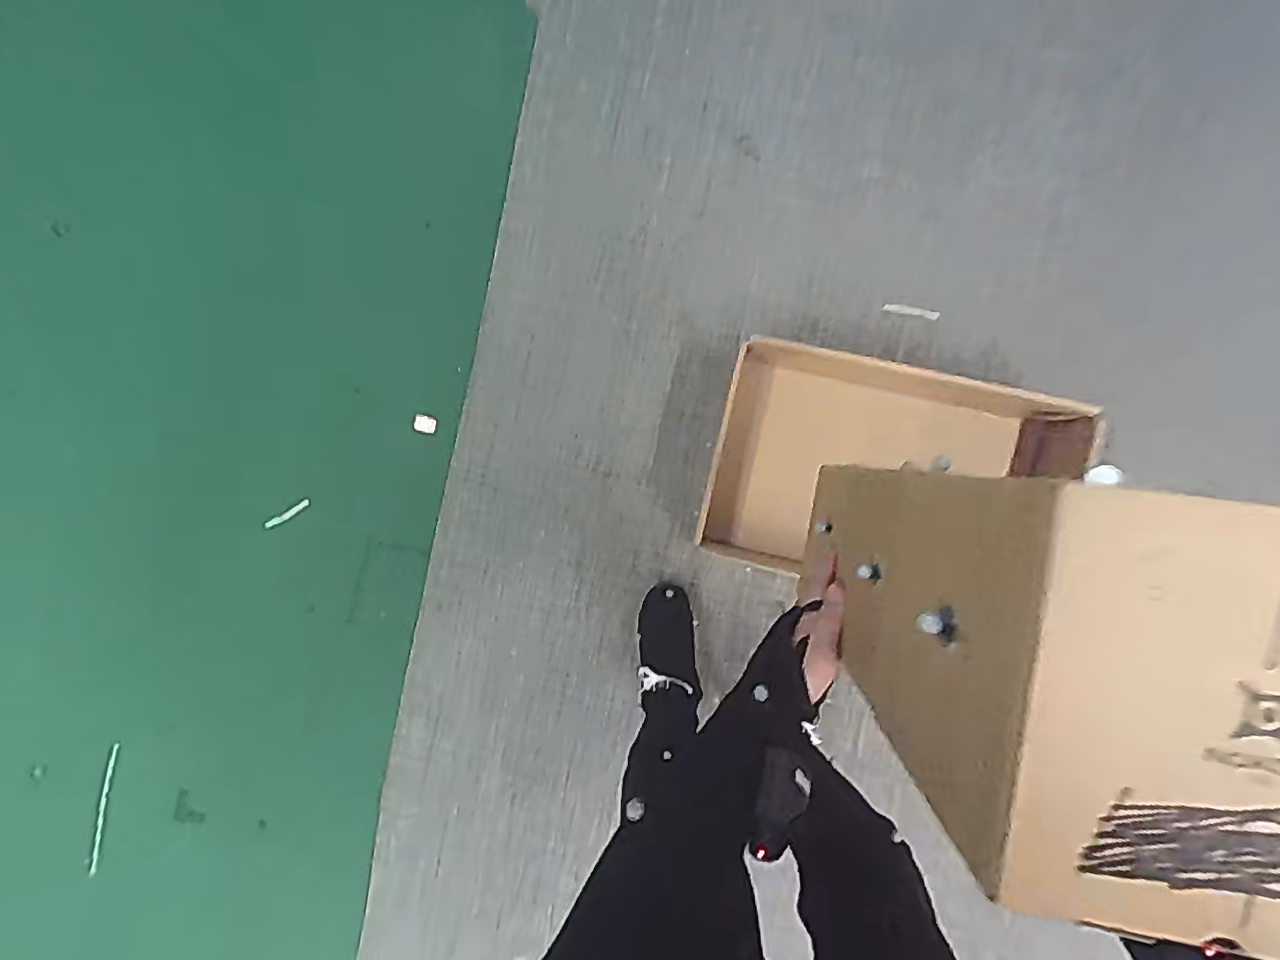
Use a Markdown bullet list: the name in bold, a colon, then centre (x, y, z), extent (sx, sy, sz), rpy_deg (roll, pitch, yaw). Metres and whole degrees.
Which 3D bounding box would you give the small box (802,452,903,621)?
- **small box**: centre (0.290, 0.070, 0.611), extent (0.168, 0.176, 0.179), rpy_deg (10, 93, 6)

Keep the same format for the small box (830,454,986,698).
- **small box**: centre (0.268, 0.078, 0.449), extent (0.168, 0.176, 0.179), rpy_deg (10, 94, 7)

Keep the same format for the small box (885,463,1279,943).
- **small box**: centre (0.246, 0.088, 0.287), extent (0.168, 0.176, 0.179), rpy_deg (8, 92, 7)
